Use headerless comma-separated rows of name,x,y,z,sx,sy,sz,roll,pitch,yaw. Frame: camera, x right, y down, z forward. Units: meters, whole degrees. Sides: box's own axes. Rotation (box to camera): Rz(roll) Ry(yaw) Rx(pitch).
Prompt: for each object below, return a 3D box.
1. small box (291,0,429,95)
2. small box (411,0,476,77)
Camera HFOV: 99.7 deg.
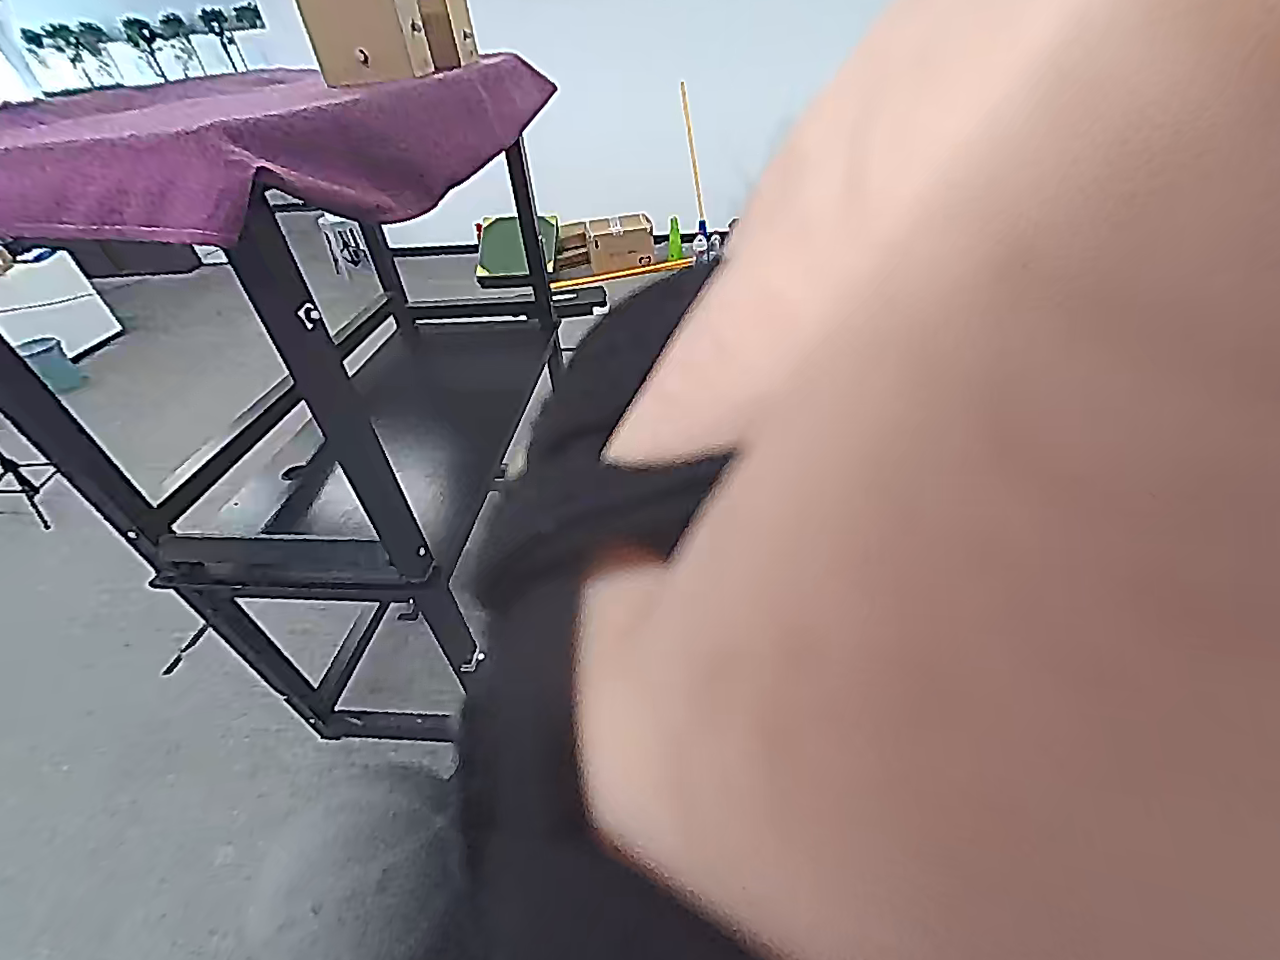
small box,-0.531,-0.863,1.048,0.179,0.176,0.168,-5,40,0
small box,-0.510,-1.058,1.273,0.179,0.176,0.168,-2,41,5
